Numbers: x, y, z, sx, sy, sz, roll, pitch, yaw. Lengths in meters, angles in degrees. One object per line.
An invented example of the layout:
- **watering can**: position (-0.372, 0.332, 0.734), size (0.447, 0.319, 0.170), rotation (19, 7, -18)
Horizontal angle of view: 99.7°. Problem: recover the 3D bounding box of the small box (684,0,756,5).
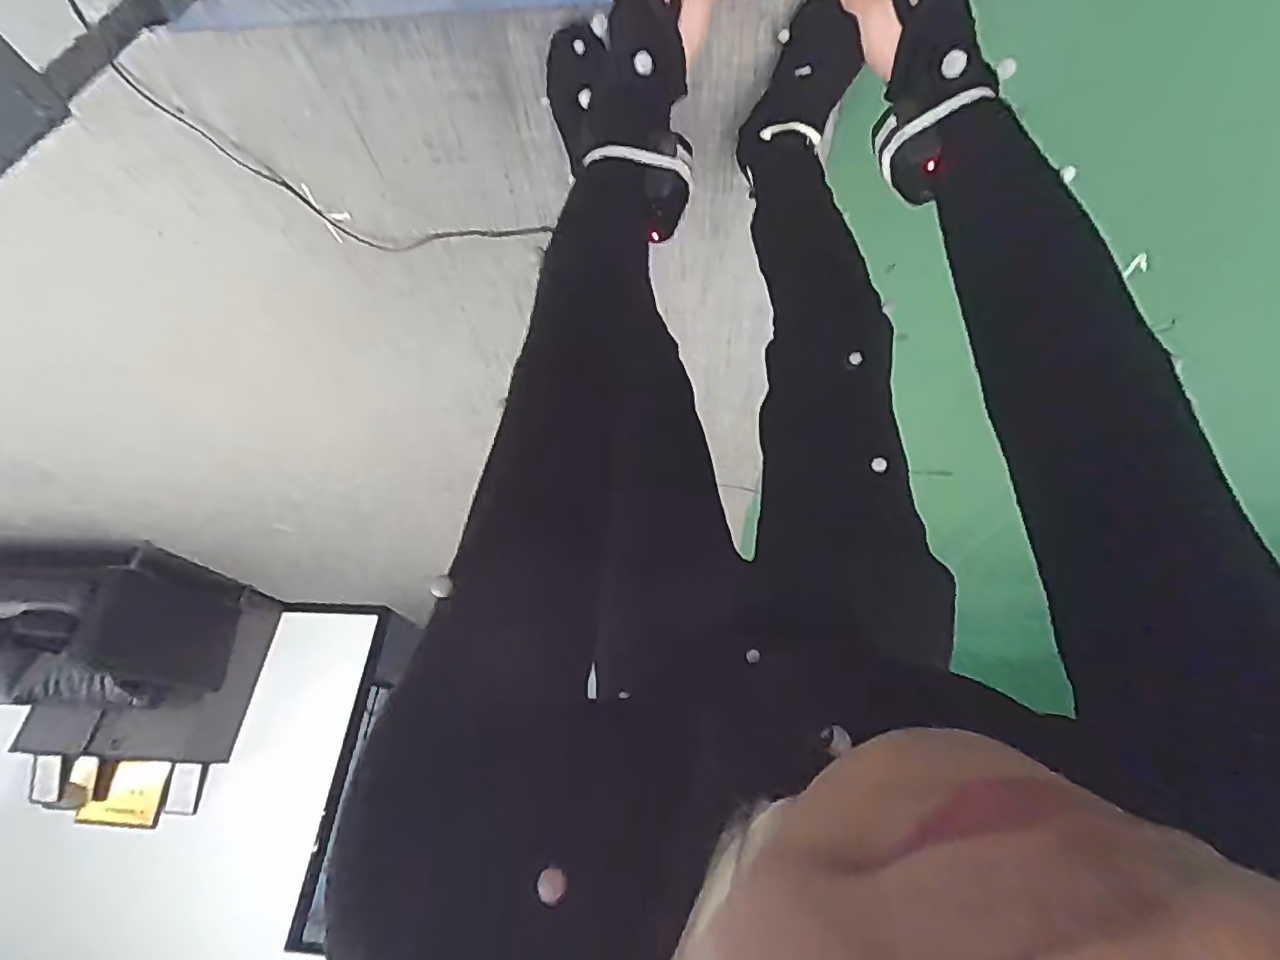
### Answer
- **small box**: position (0.121, -0.554, 0.461), size (0.168, 0.176, 0.179), rotation (1, 150, 6)
